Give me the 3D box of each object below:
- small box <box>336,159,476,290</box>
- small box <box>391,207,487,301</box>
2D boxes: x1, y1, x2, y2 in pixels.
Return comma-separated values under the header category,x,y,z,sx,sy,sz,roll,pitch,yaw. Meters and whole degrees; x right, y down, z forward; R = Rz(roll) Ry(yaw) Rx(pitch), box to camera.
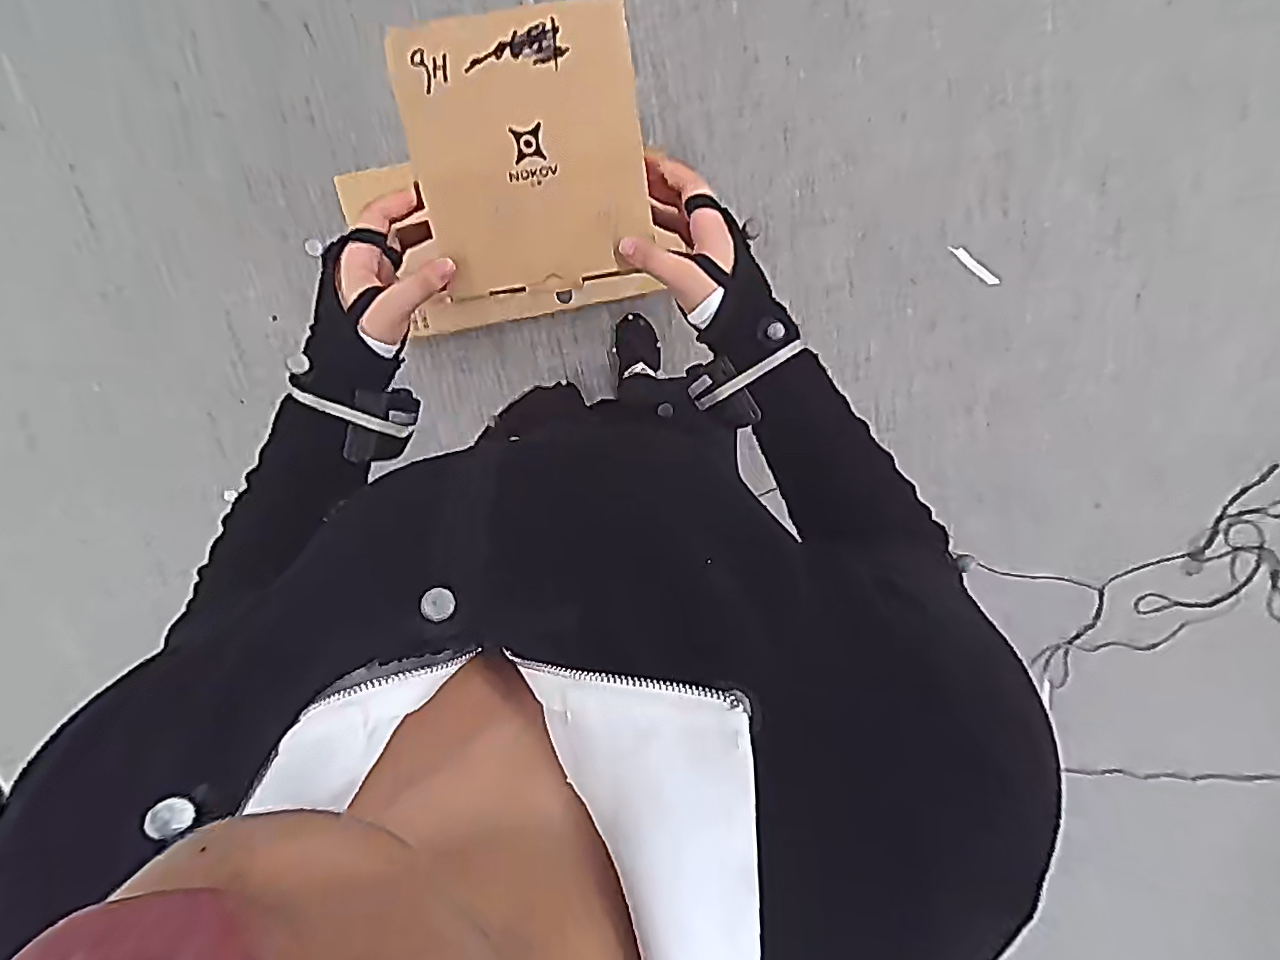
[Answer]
category,x,y,z,sx,sy,sz,roll,pitch,yaw
small box,-0.422,-0.464,1.005,0.168,0.176,0.179,-10,105,1
small box,-0.445,-0.495,1.167,0.168,0.176,0.179,-11,105,1
